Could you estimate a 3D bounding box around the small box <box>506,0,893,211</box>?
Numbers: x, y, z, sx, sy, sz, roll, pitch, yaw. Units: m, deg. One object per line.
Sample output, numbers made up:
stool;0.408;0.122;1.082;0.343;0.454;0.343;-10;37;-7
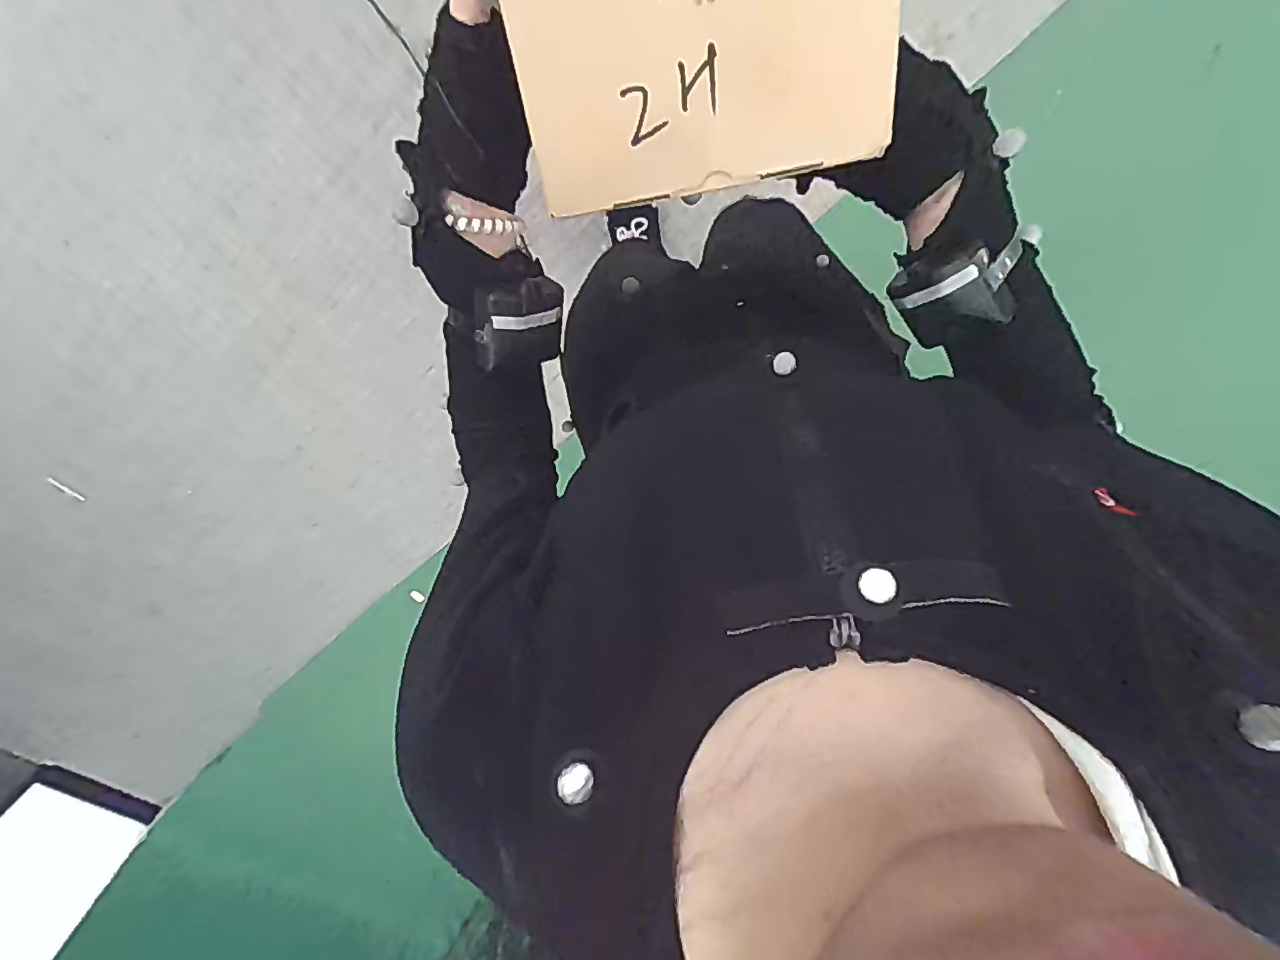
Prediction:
small box;0.020;-0.258;0.286;0.168;0.176;0.179;-9;123;4
